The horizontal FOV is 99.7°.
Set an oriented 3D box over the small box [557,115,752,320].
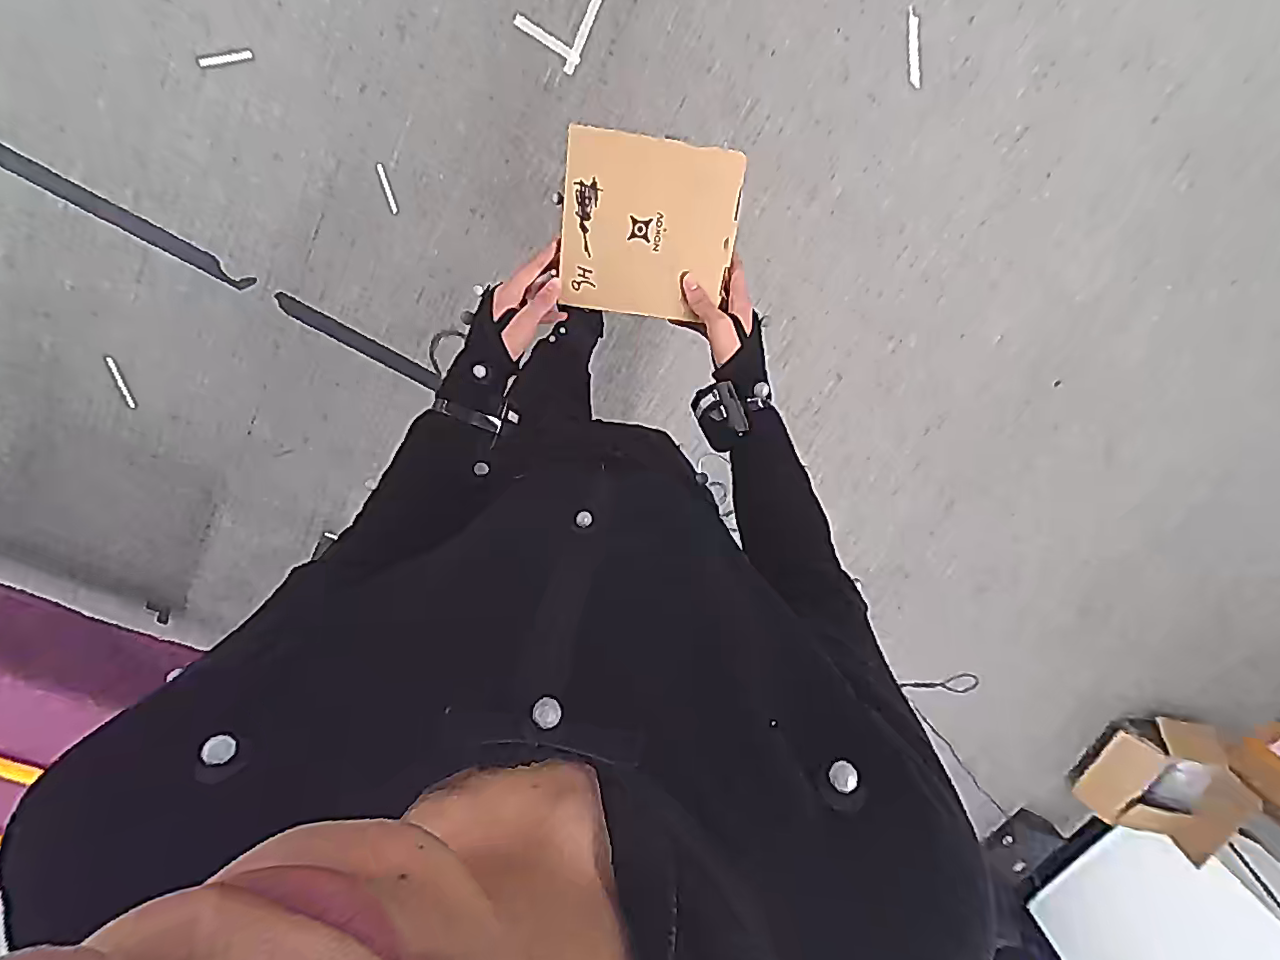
[{"bbox_3d":[0.005,-0.289,0.611,0.179,0.176,0.168,6,115,-7],"label":"small box"}]
